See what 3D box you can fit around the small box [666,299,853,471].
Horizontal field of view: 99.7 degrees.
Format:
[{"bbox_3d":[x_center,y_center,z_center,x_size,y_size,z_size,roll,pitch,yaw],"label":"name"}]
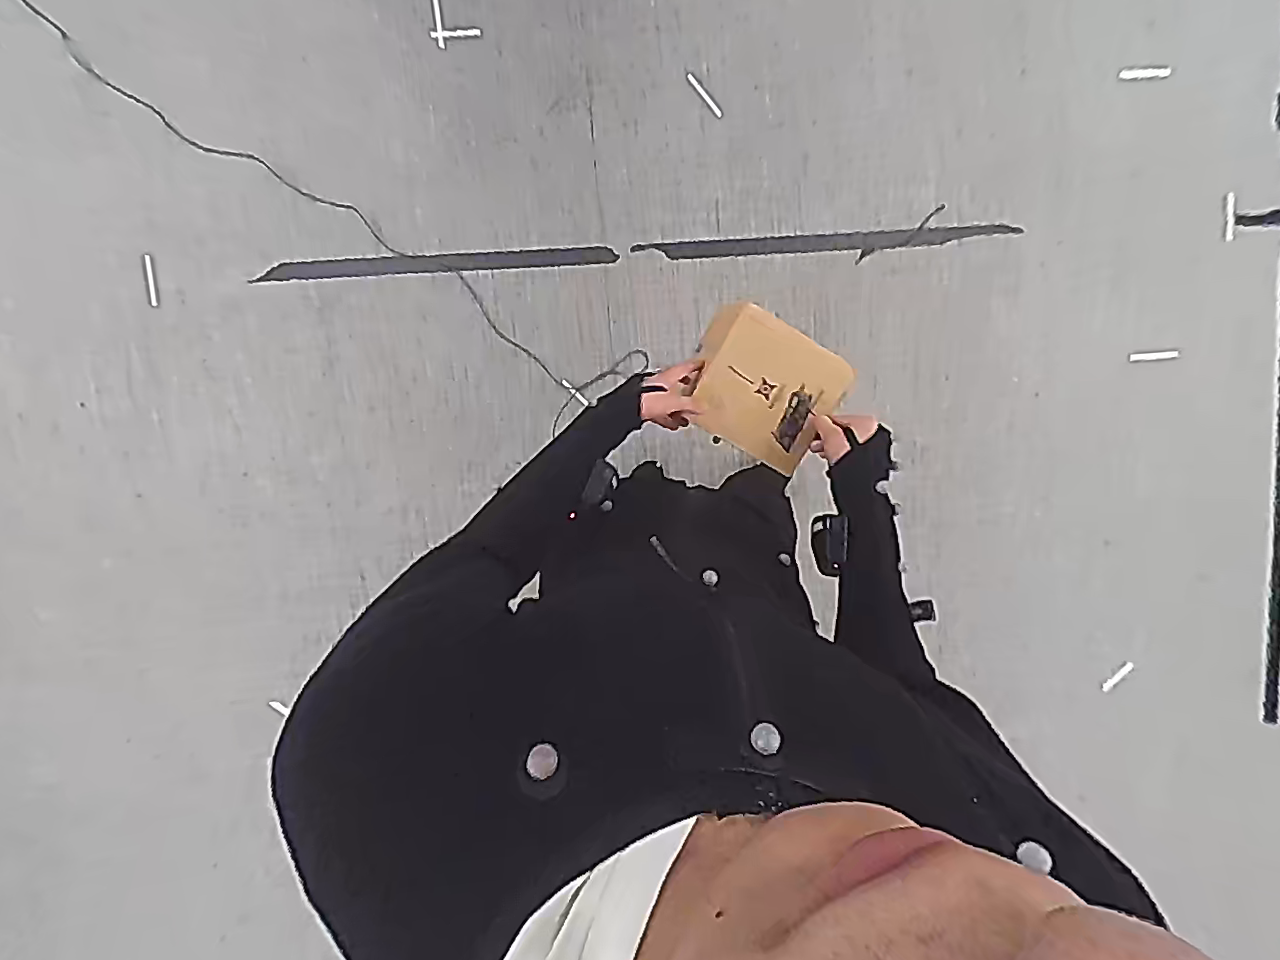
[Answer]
[{"bbox_3d":[0.155,-0.140,0.765,0.179,0.176,0.168,27,103,-10],"label":"small box"}]
